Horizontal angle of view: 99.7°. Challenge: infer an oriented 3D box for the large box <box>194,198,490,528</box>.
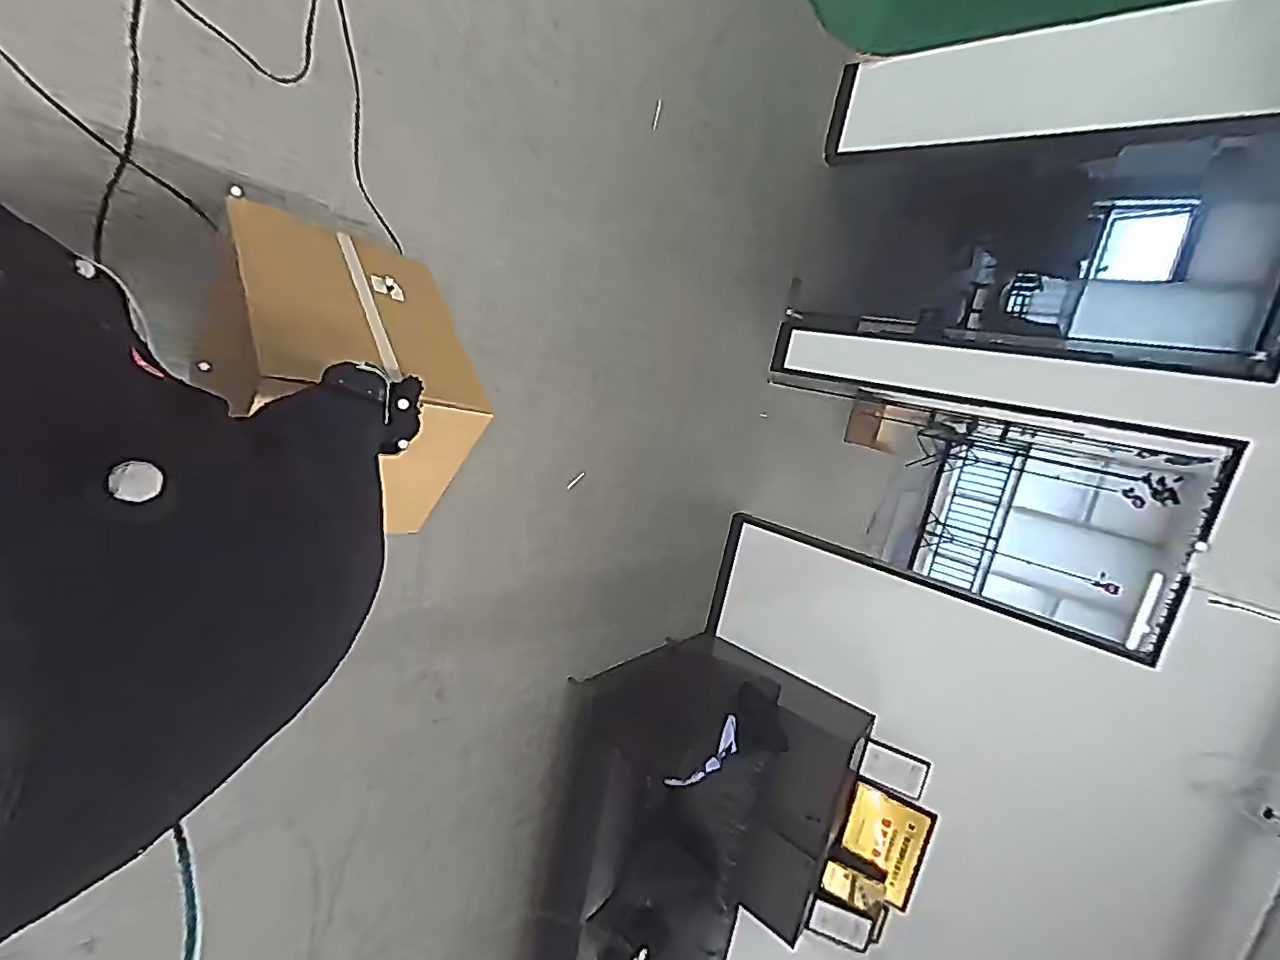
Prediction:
[{"bbox_3d":[-0.513,-0.169,0.905,0.320,0.408,0.320,5,136,-48],"label":"large box"}]
